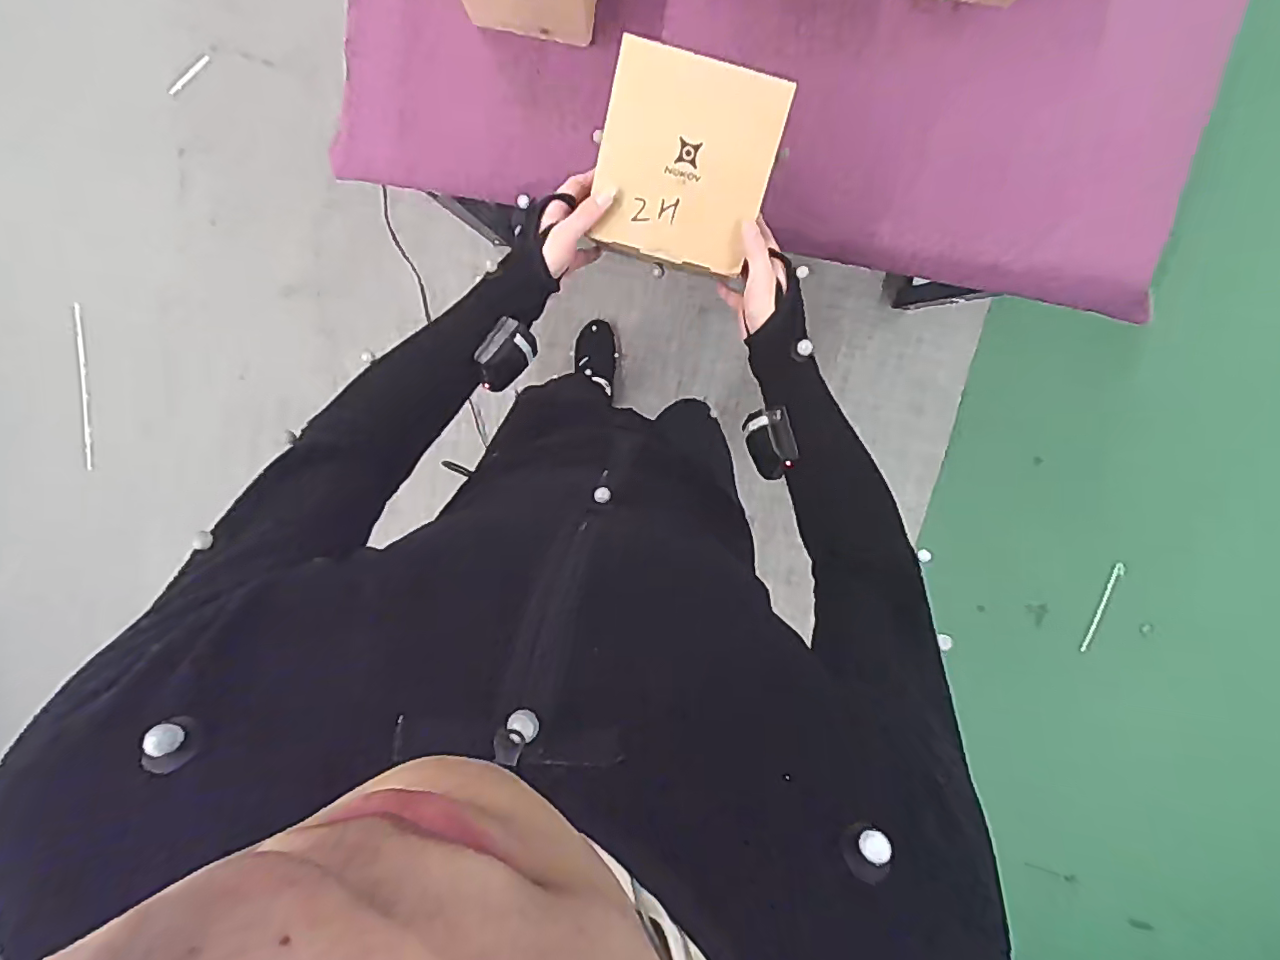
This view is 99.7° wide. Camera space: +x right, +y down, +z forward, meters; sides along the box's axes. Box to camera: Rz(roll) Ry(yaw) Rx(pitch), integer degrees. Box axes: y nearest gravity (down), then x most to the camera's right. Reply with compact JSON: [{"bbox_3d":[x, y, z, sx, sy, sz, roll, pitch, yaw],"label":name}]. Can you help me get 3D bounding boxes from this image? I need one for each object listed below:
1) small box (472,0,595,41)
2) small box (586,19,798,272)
[{"bbox_3d":[-0.133,-0.677,0.638,0.168,0.176,0.179,10,103,-2],"label":"small box"},{"bbox_3d":[0.047,-0.341,0.591,0.168,0.176,0.179,15,109,-3],"label":"small box"}]
